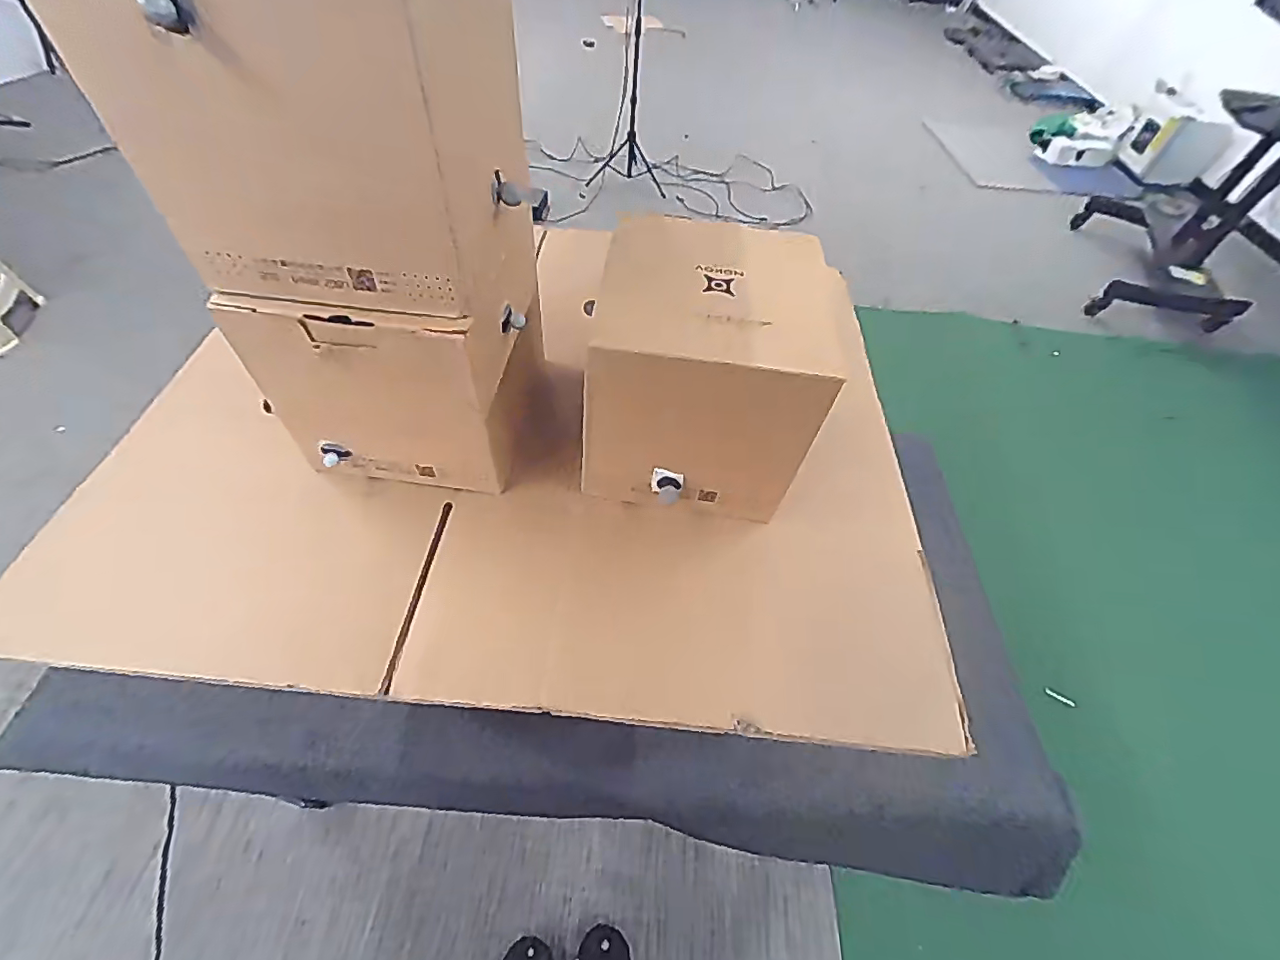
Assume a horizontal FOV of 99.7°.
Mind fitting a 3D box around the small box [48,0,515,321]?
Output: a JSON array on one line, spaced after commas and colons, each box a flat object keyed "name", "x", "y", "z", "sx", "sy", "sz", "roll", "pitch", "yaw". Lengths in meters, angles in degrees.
[{"name": "small box", "x": -0.178, "y": -0.223, "z": 0.329, "sx": 0.168, "sy": 0.176, "sz": 0.179, "roll": 6, "pitch": 52, "yaw": 0}]

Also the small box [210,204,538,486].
[{"name": "small box", "x": -0.186, "y": -0.114, "z": 0.451, "sx": 0.168, "sy": 0.176, "sz": 0.179, "roll": 7, "pitch": 52, "yaw": 0}]
